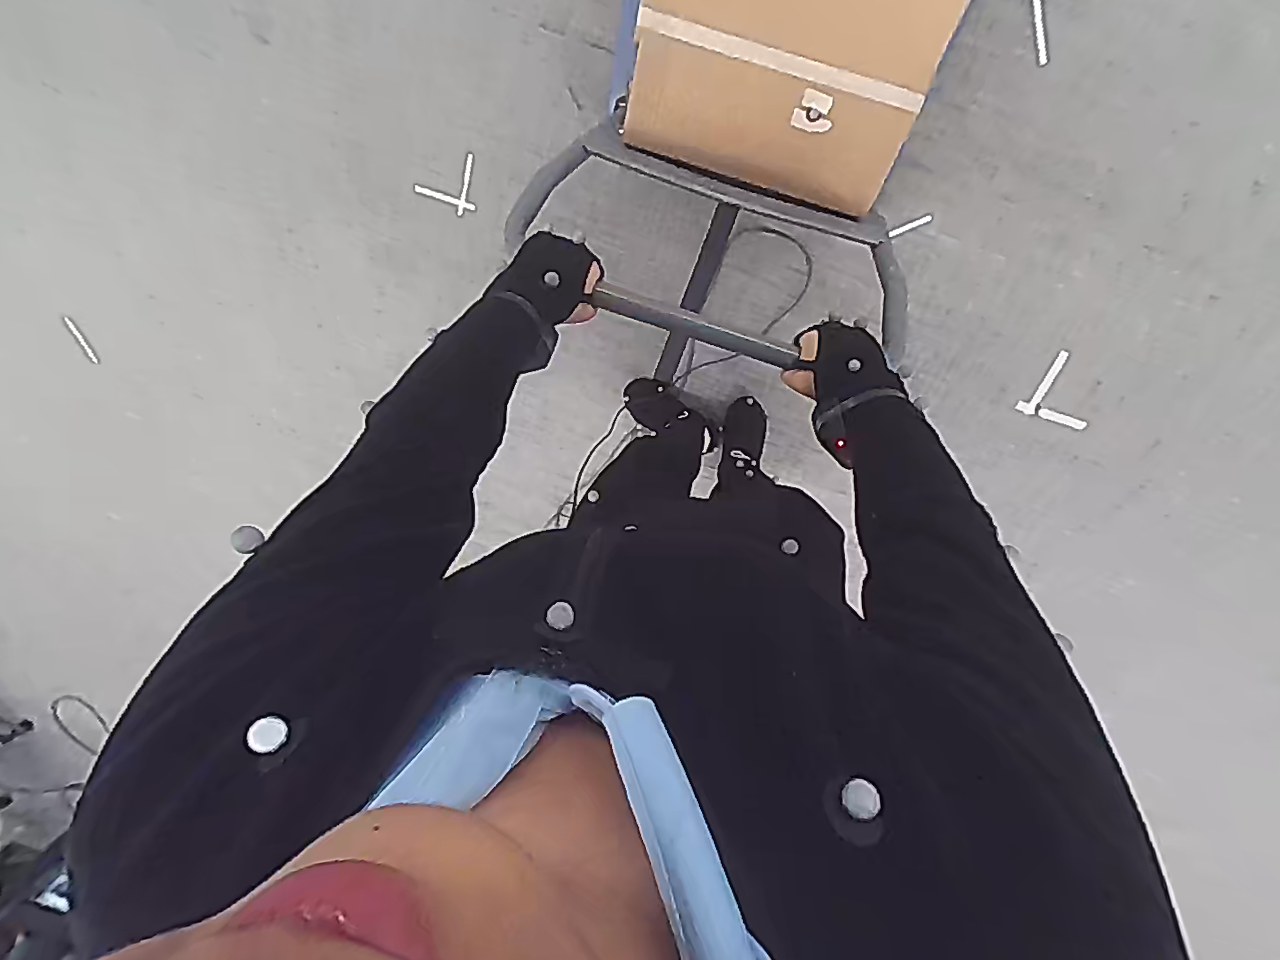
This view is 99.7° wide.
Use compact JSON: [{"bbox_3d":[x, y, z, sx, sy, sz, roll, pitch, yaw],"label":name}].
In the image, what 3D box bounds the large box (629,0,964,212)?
[{"bbox_3d":[0.227,-0.683,0.879,0.408,0.320,0.320,17,131,-1],"label":"large box"}]
